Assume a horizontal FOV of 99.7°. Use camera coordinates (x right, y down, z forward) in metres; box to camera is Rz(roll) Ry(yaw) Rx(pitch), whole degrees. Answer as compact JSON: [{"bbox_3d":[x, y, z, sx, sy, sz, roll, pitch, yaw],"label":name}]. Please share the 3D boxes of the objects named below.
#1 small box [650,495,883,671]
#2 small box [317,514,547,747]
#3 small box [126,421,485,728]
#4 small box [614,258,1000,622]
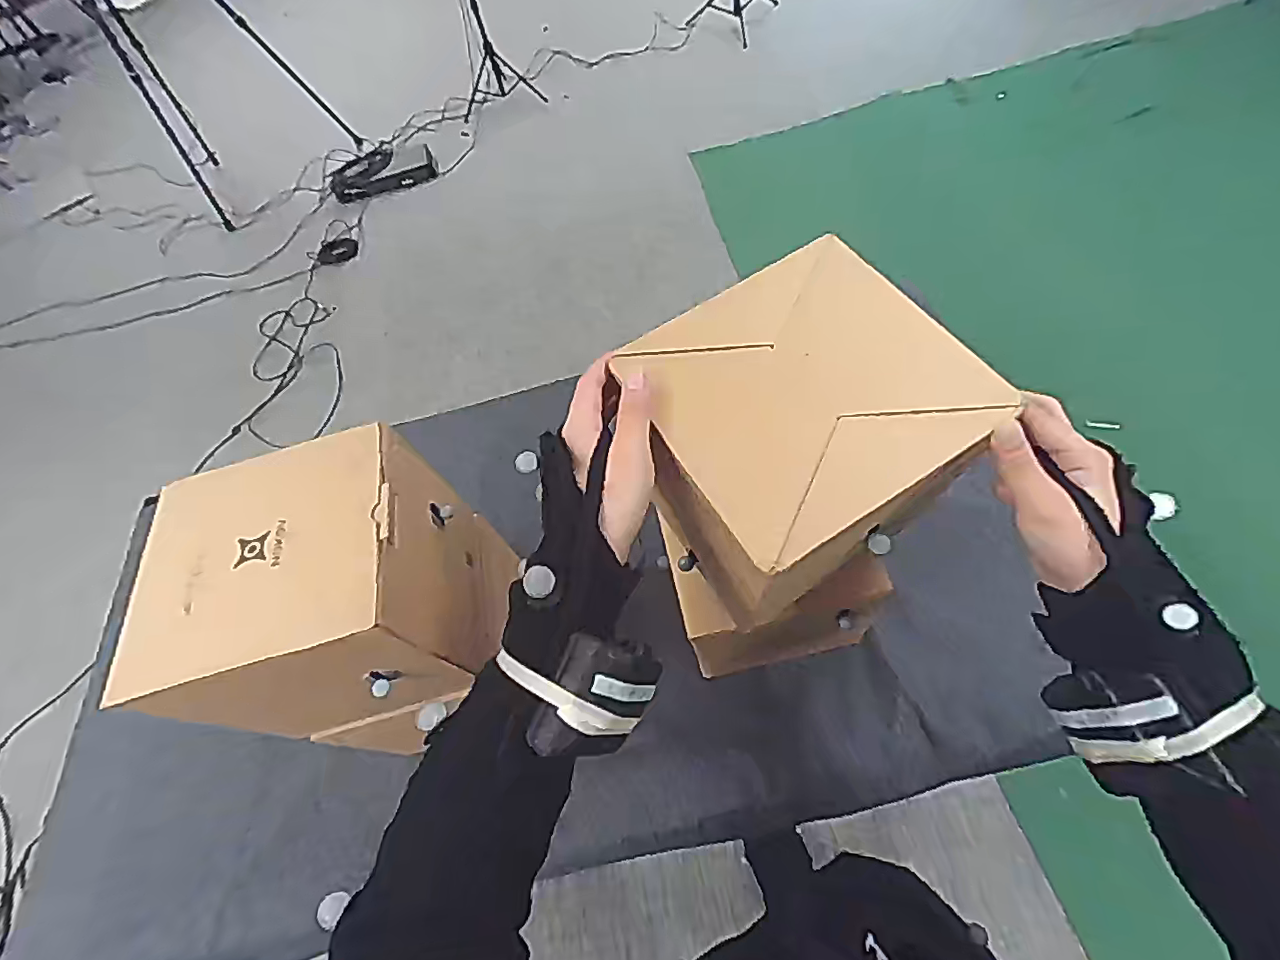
[{"bbox_3d":[0.120,0.086,0.563,0.179,0.176,0.168,-14,58,2],"label":"small box"},{"bbox_3d":[-0.208,0.166,0.575,0.168,0.176,0.179,-16,58,1],"label":"small box"},{"bbox_3d":[-0.238,0.085,0.438,0.179,0.176,0.168,-18,58,0],"label":"small box"},{"bbox_3d":[0.101,-0.025,0.387,0.179,0.176,0.168,-31,66,-8],"label":"small box"}]
